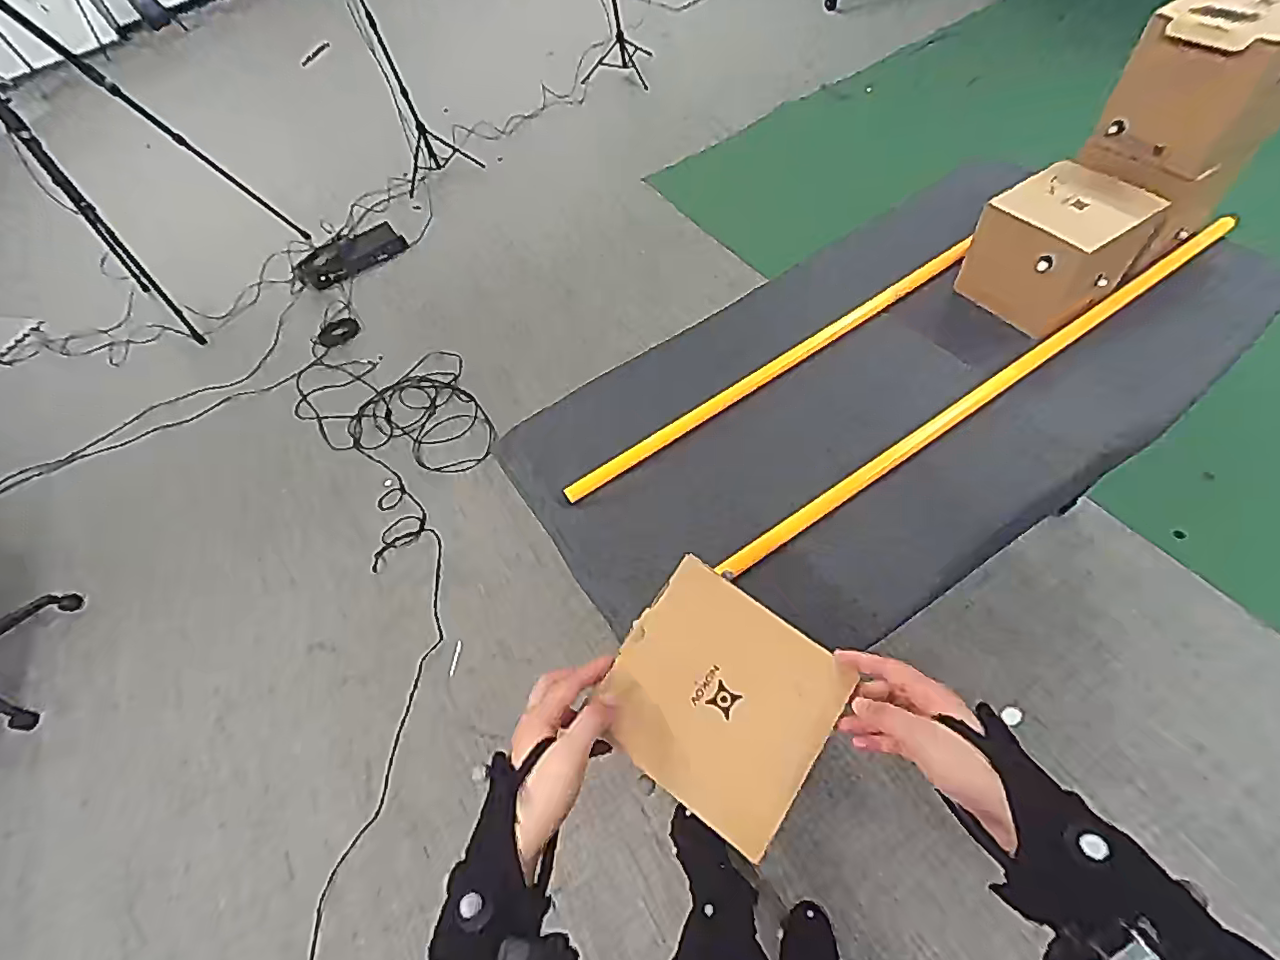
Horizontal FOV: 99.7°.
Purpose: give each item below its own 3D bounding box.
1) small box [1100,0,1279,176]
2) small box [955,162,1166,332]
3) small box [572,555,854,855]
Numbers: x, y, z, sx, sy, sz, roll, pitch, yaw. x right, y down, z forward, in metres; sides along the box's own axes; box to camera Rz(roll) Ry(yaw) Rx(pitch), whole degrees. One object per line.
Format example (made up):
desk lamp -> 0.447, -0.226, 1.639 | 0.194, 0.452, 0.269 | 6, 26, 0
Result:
small box -> 0.823, -0.575, 0.778 | 0.179, 0.176, 0.168 | -28, 58, -8
small box -> 0.660, -0.367, 0.875 | 0.168, 0.176, 0.179 | -30, 57, -9
small box -> 0.062, 0.200, 0.515 | 0.179, 0.176, 0.168 | 34, 73, 13
